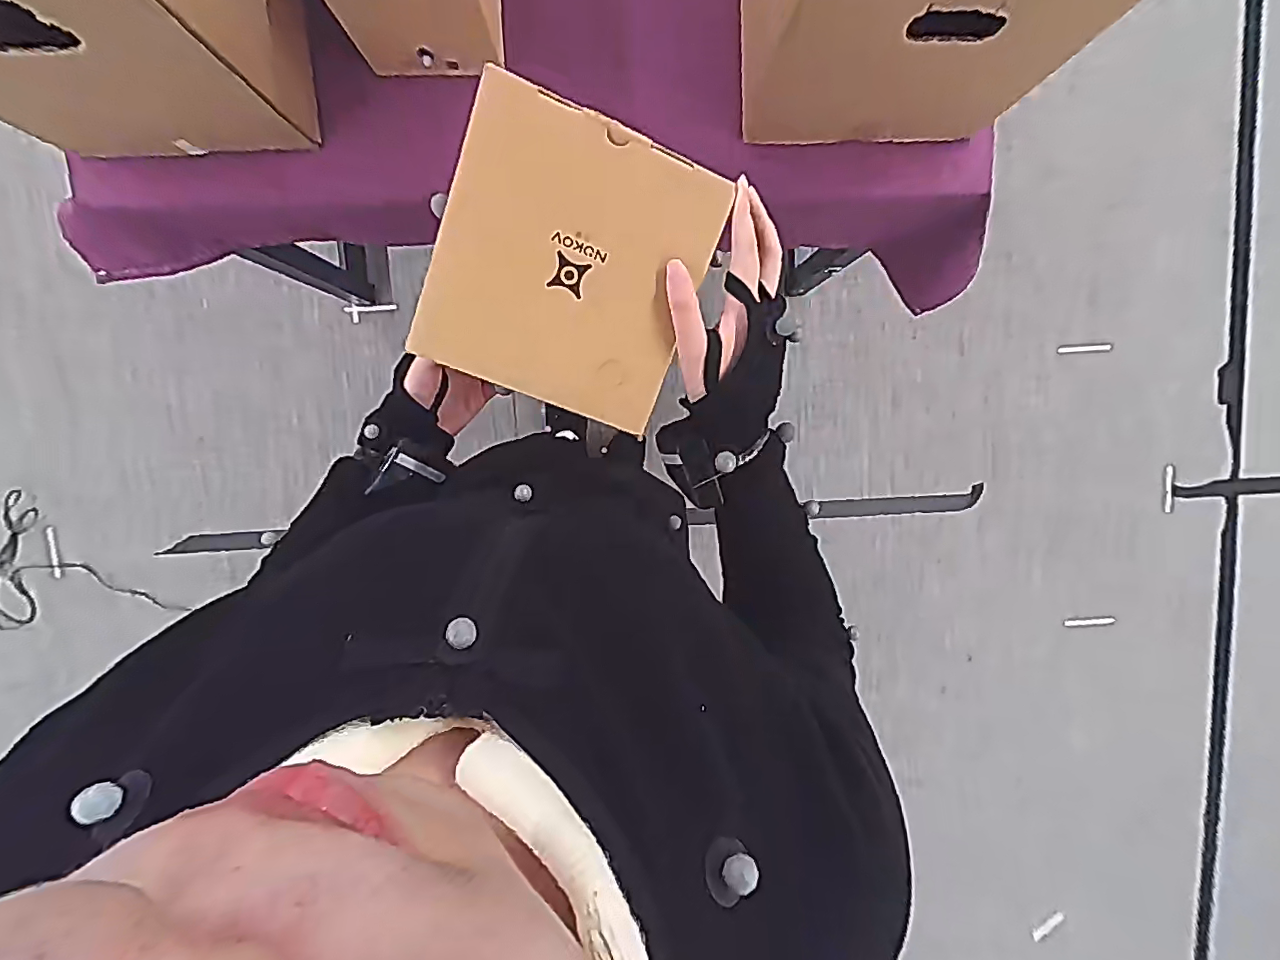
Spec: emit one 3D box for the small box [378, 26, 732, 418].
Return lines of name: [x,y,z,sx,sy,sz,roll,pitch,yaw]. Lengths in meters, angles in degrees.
small box: [-0.040,-0.160,0.378,0.179,0.176,0.168,17,83,6]
